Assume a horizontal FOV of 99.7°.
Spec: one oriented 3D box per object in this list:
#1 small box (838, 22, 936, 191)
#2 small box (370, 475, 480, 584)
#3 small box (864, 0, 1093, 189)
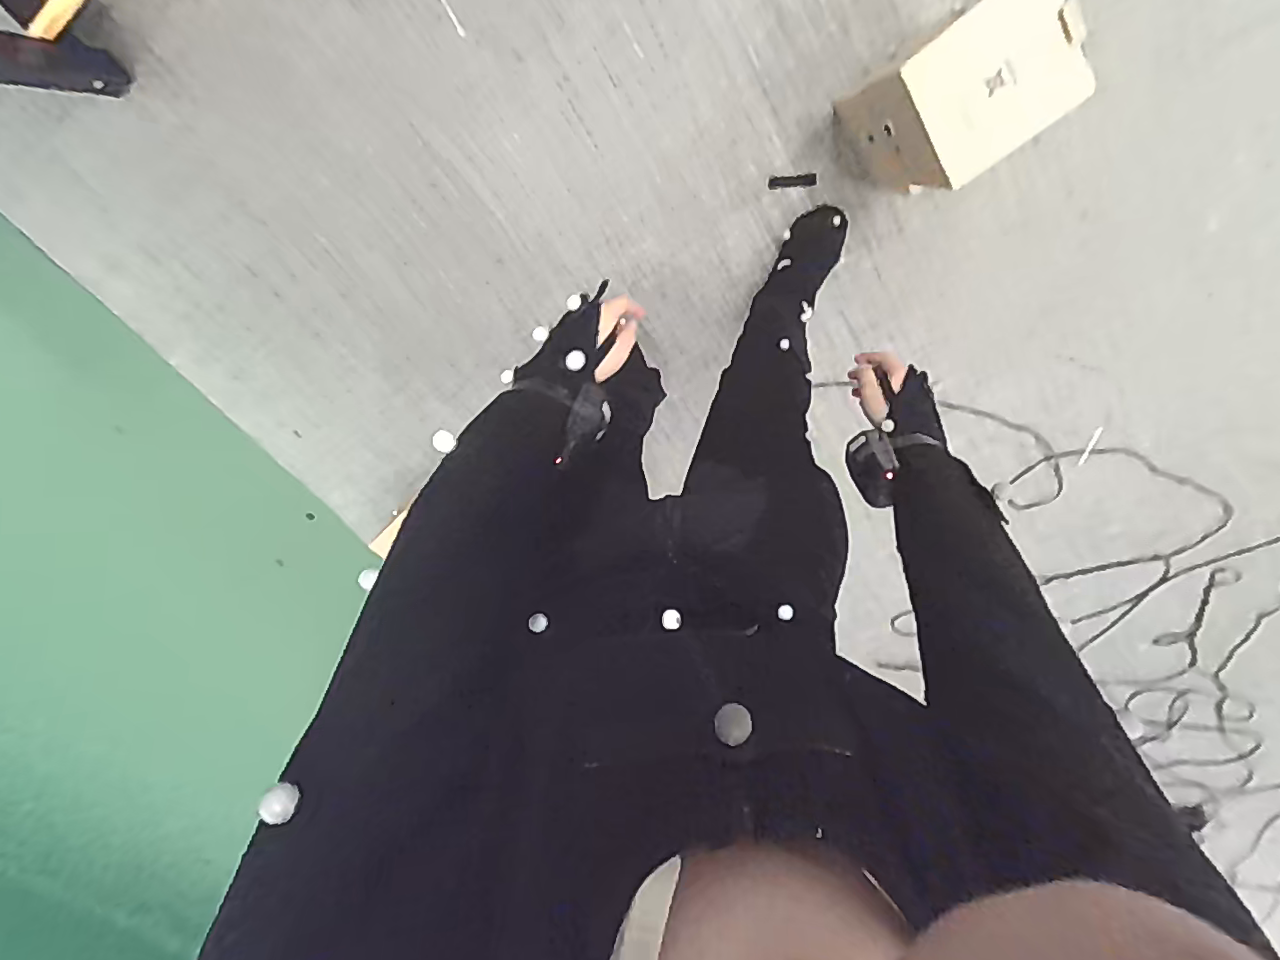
[{"bbox_3d":[0.443,-0.592,0.863,0.168,0.176,0.179,-33,112,21],"label":"small box"},{"bbox_3d":[-0.524,0.118,1.347,0.179,0.176,0.168,-38,111,24],"label":"small box"},{"bbox_3d":[0.431,-0.520,0.716,0.179,0.176,0.168,-33,112,22],"label":"small box"}]
